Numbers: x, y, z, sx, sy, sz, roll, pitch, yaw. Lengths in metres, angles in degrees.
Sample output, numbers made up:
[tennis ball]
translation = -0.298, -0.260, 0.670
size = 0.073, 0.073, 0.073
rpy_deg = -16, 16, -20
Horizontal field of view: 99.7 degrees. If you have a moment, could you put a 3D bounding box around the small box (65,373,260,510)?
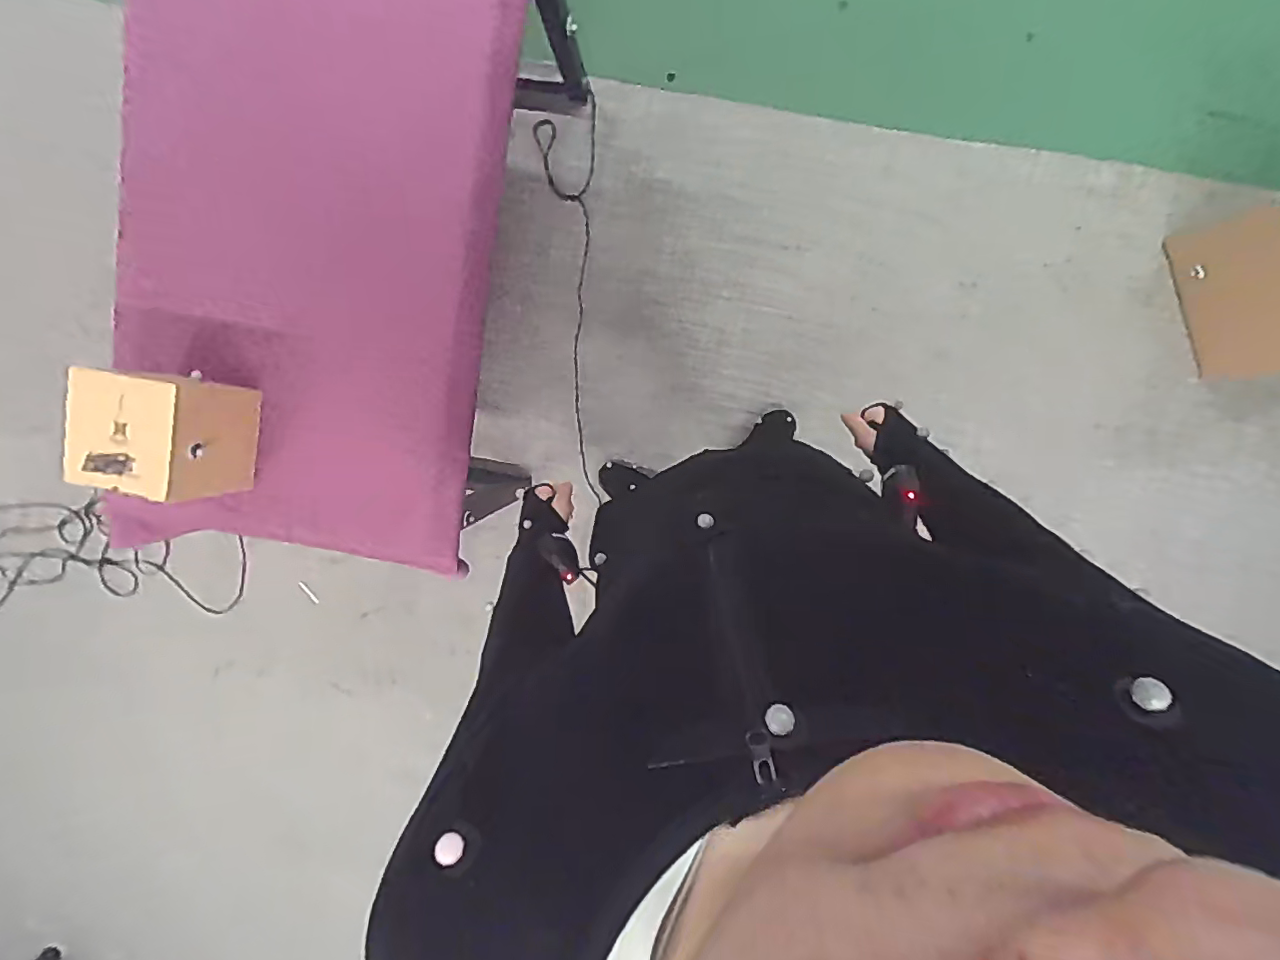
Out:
[small box]
translation = -0.748, -0.064, 0.864
size = 0.168, 0.176, 0.179
rpy_deg = 11, 96, 2
